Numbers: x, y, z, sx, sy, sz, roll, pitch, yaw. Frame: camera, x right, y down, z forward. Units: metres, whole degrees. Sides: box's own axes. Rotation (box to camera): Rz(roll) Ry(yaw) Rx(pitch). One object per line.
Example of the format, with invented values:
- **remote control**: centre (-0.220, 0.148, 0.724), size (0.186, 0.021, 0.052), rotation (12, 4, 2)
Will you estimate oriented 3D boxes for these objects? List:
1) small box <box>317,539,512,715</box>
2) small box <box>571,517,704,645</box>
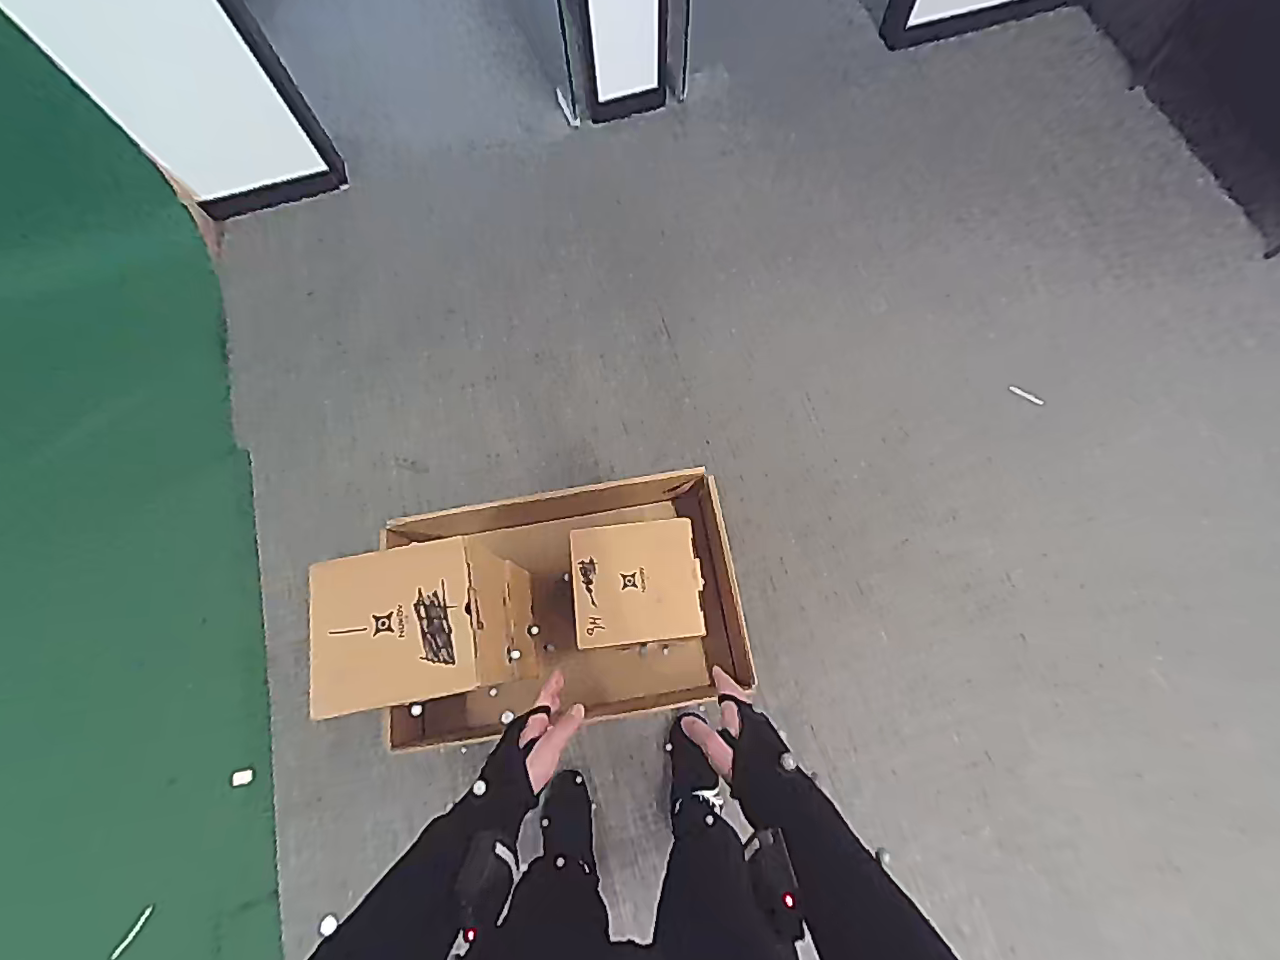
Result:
- **small box**: centre (-0.265, 0.179, 0.670), size (0.179, 0.176, 0.168), rotation (-11, 73, -1)
- **small box**: centre (-0.003, 0.160, 0.833), size (0.179, 0.176, 0.168), rotation (-7, 73, 1)
